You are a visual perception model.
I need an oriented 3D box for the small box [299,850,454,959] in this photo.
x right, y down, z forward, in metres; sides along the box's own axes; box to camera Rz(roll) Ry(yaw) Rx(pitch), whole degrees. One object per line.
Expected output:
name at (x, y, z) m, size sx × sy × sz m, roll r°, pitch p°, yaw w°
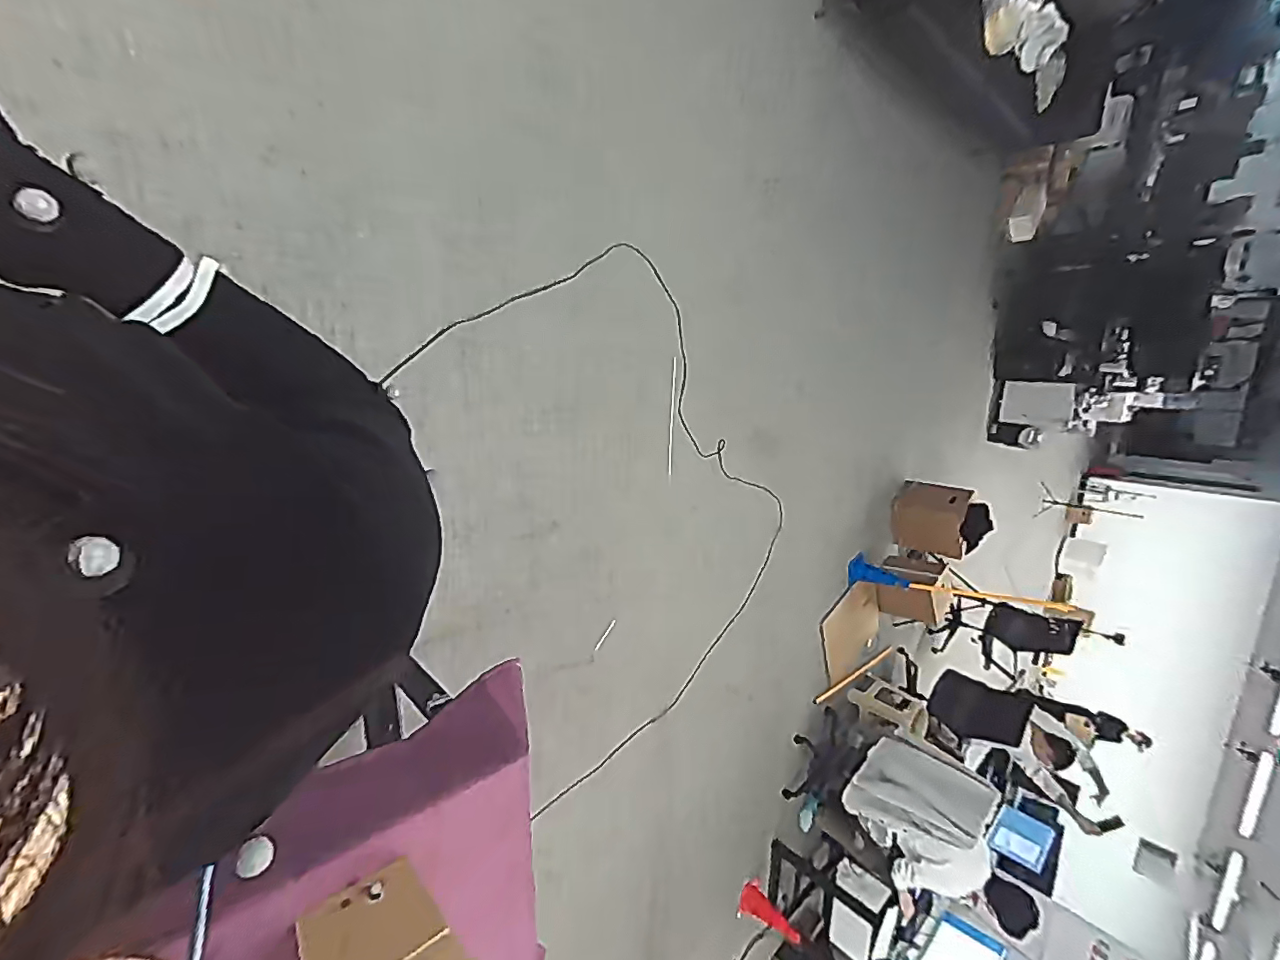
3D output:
small box at (-0.394, 0.717, 0.812) m, size 0.168 × 0.176 × 0.179 m, roll -10°, pitch 106°, yaw -43°
